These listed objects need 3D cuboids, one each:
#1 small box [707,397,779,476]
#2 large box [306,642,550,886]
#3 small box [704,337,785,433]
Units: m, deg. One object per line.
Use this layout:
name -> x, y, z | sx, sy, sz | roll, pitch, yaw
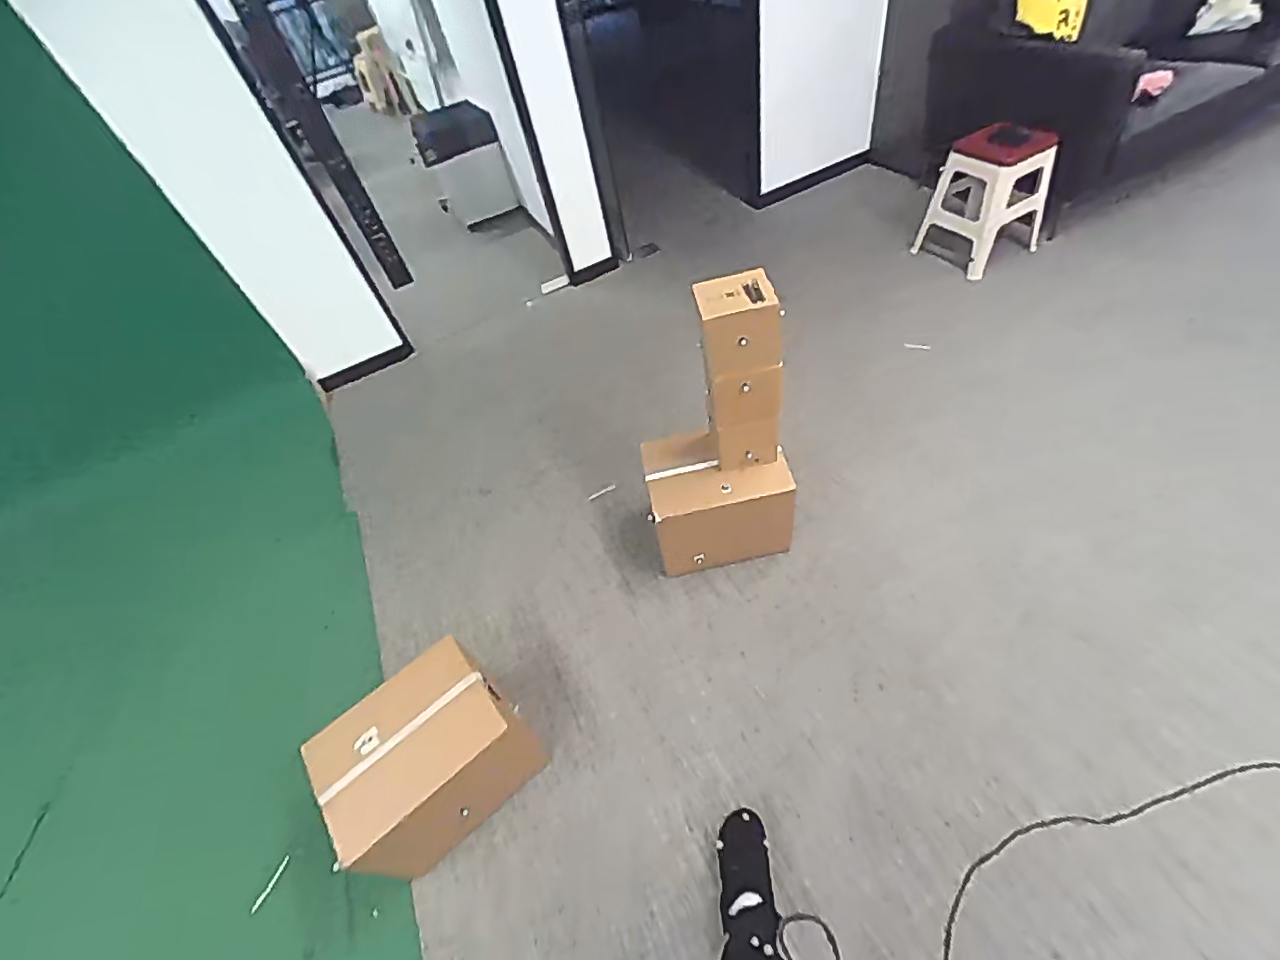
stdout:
small box -> 0.292, -0.138, 1.542 | 0.168, 0.176, 0.179 | -12, 47, 3
large box -> -0.500, 0.693, 1.332 | 0.408, 0.320, 0.320 | -38, 51, -18
small box -> 0.272, -0.247, 1.424 | 0.179, 0.176, 0.168 | -11, 47, 4
